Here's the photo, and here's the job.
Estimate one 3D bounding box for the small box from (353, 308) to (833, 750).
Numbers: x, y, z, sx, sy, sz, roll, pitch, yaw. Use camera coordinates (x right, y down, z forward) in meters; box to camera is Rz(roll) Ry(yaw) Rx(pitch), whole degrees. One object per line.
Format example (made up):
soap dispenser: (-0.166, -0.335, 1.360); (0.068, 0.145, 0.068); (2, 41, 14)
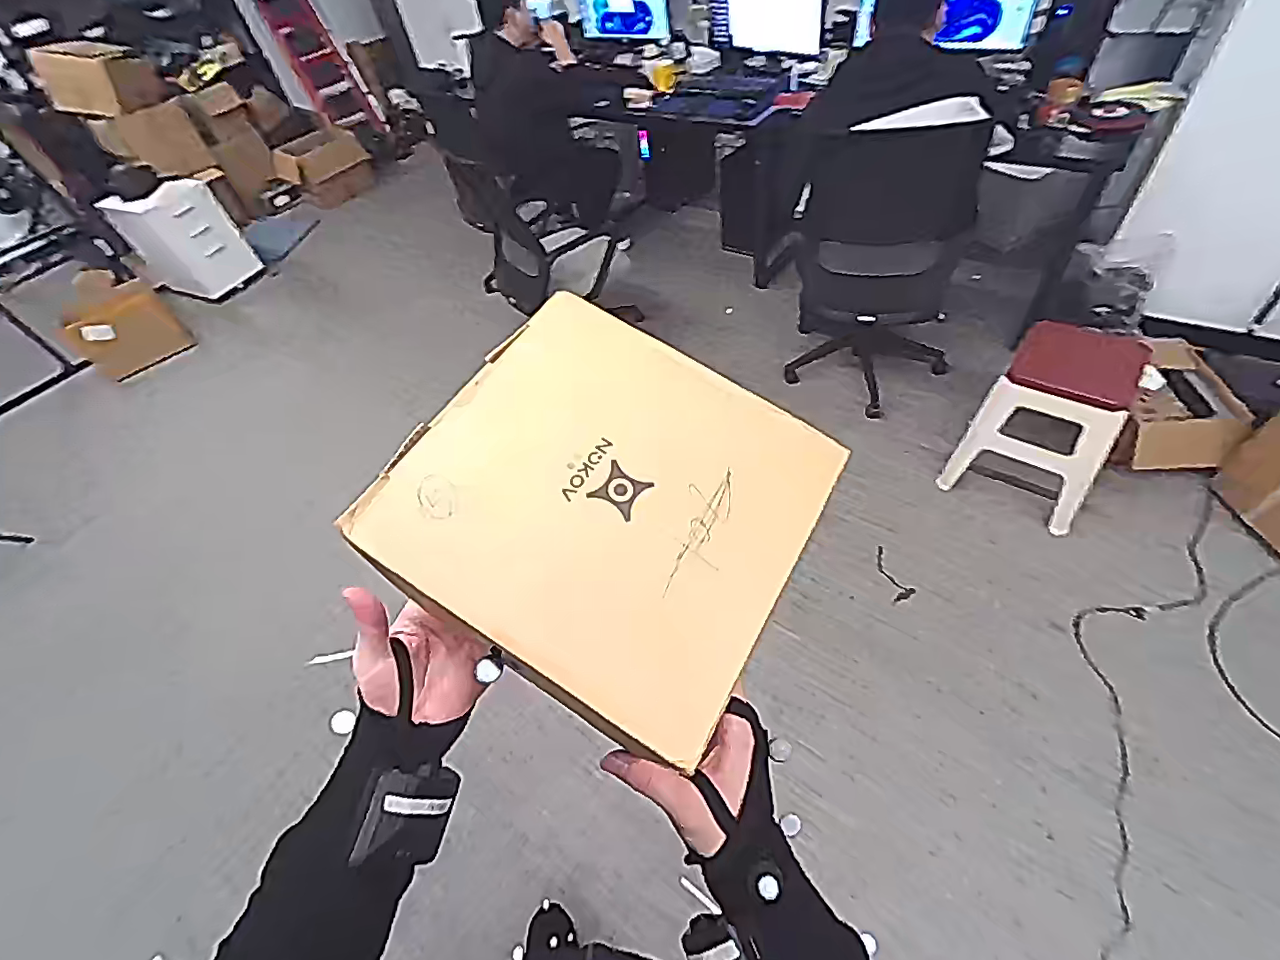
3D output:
small box: (-0.023, 0.040, 0.328); (0.179, 0.176, 0.168); (30, 65, 6)
